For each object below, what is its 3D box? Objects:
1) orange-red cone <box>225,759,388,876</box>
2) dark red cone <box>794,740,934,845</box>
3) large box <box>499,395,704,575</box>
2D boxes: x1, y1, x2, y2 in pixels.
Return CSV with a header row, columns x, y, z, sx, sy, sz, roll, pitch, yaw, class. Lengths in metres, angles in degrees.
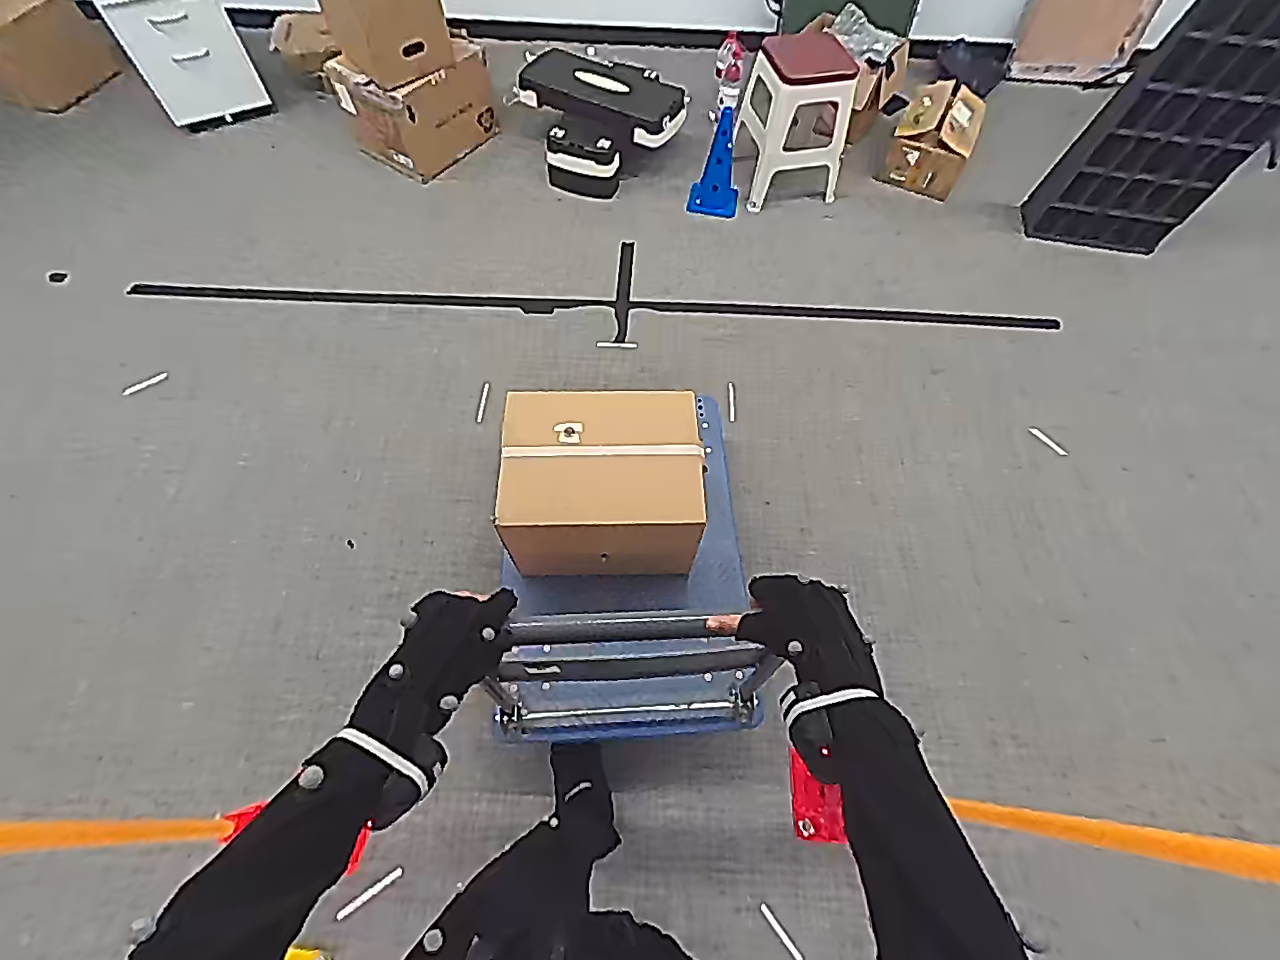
x,y,z,sx,sy,sz,roll,pitch,yaw,class
-0.674,0.653,1.043,0.198,0.360,0.199,10,60,3,orange-red cone
0.459,0.619,1.069,0.201,0.394,0.202,4,62,-2,dark red cone
-0.079,0.024,1.238,0.408,0.320,0.320,-1,62,-1,large box
